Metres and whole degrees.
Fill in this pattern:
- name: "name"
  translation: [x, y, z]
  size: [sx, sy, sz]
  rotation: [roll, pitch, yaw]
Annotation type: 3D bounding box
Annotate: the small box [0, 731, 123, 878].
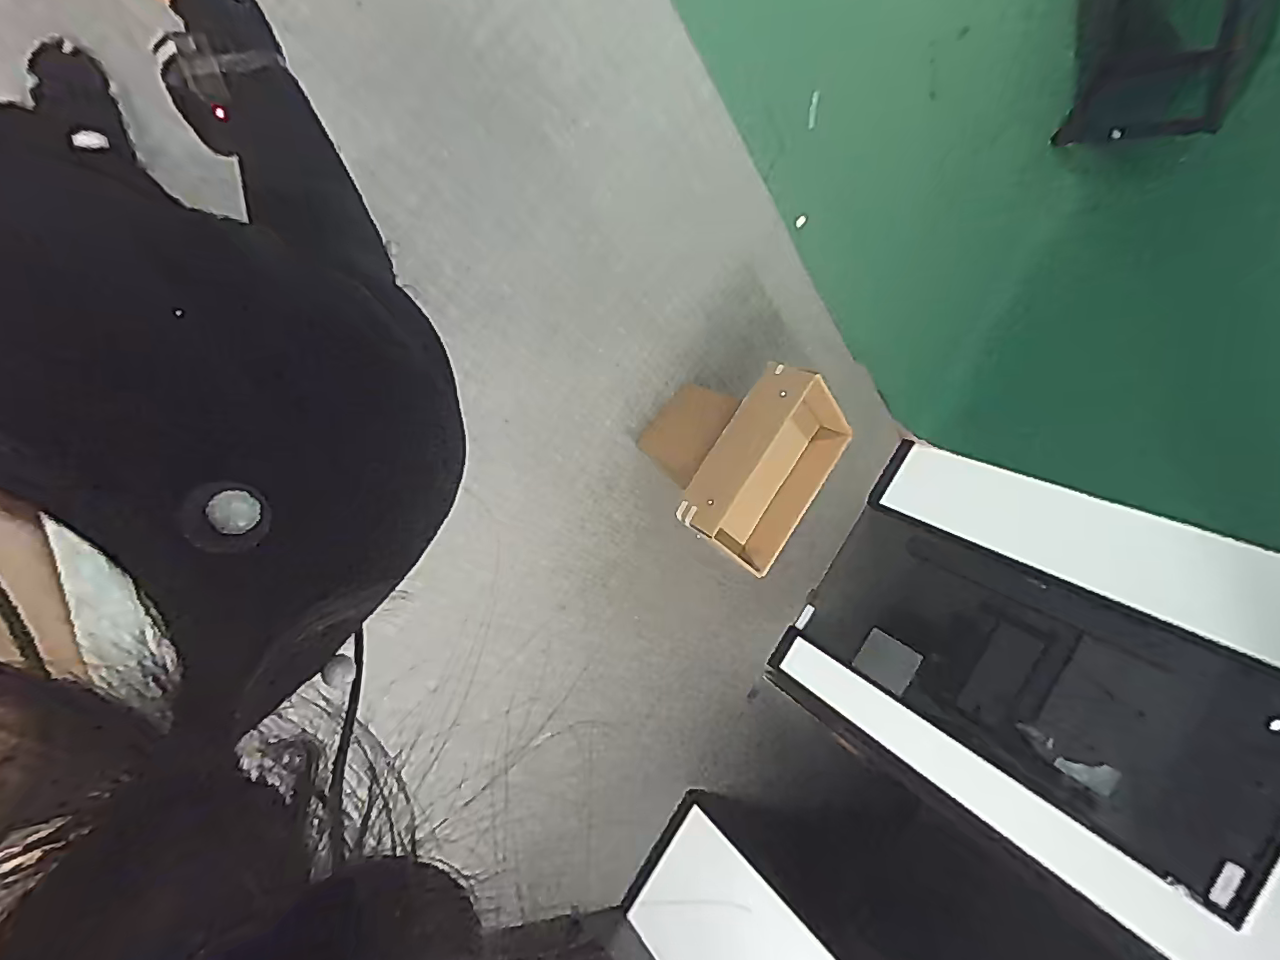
- name: "small box"
  translation: [-1.149, 0.623, 1.065]
  size: [0.168, 0.176, 0.179]
  rotation: [11, 104, -45]
